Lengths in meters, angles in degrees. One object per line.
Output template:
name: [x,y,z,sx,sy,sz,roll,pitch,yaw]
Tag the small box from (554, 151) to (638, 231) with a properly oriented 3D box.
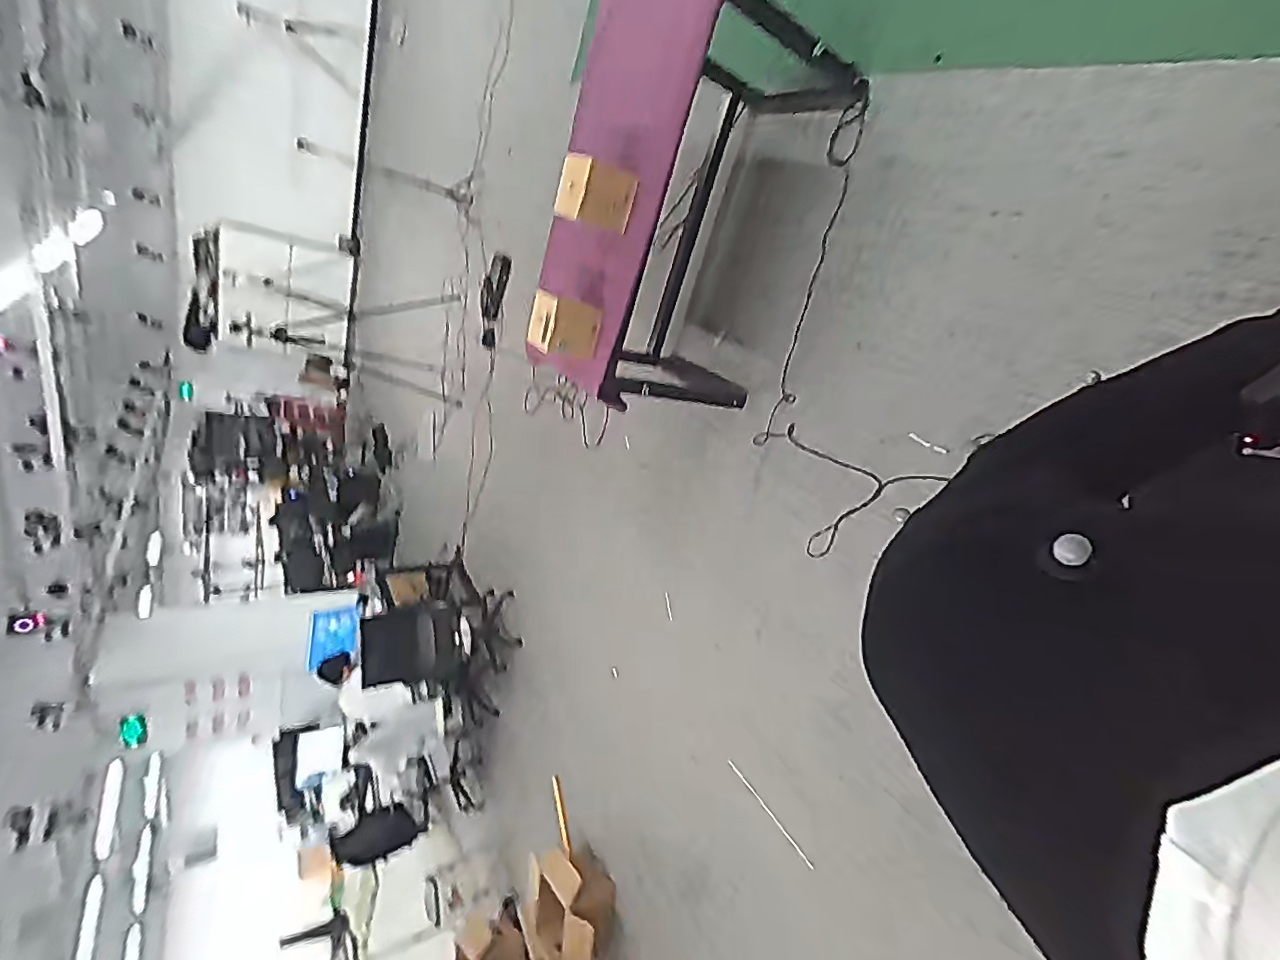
small box: [-0.135,-0.873,1.638,0.179,0.176,0.168,43,123,44]
